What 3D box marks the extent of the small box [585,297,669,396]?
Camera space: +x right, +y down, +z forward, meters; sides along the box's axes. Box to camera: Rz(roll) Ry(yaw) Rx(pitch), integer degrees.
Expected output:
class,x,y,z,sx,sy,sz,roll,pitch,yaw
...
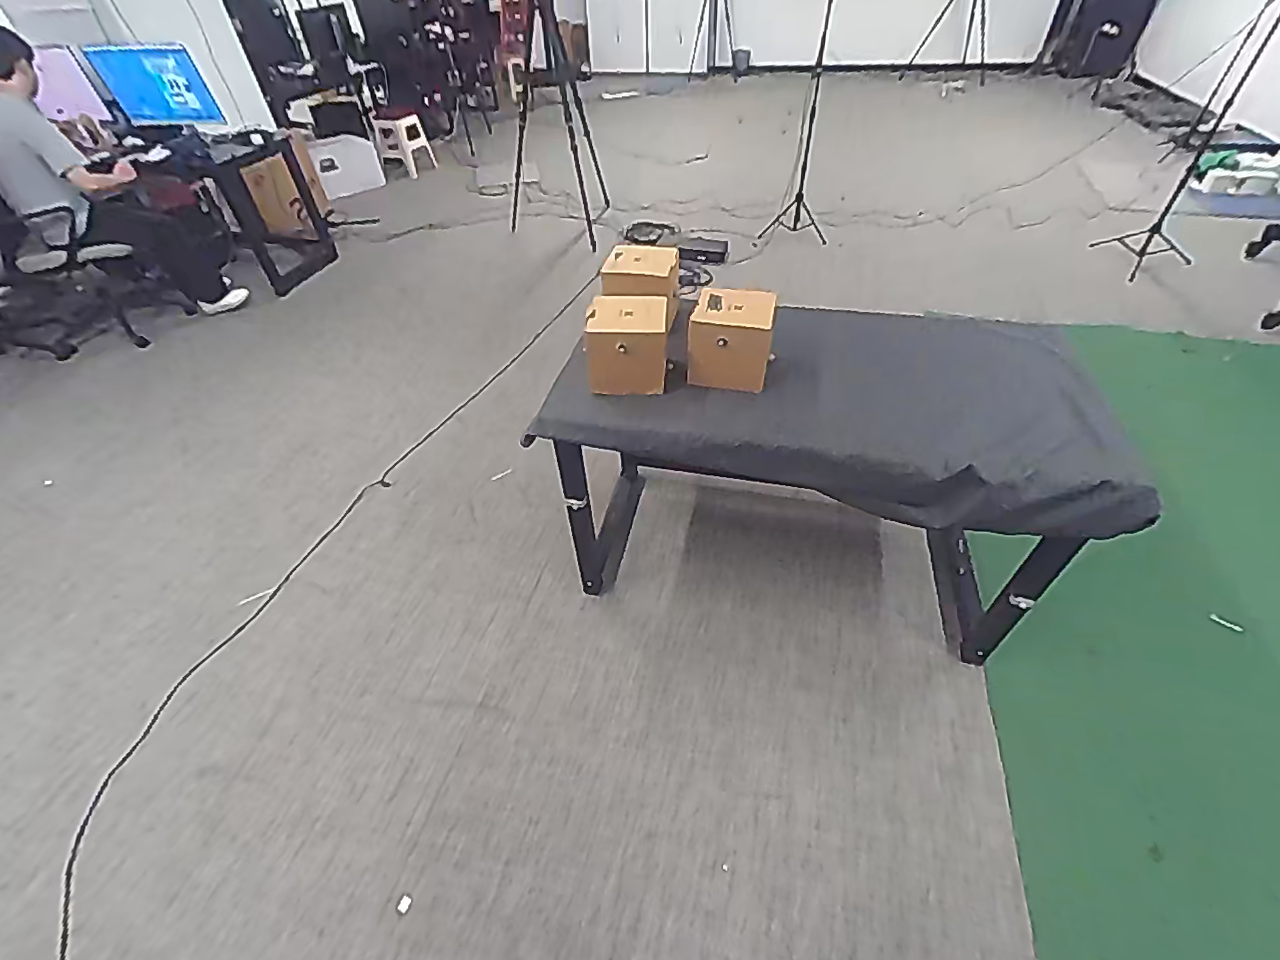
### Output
class,x,y,z,sx,sy,sz,roll,pitch,yaw
small box,-0.025,-0.310,1.263,0.179,0.176,0.168,3,45,3

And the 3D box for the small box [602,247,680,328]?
class,x,y,z,sx,sy,sz,roll,pitch,yaw
small box,0.007,-0.506,1.457,0.179,0.176,0.168,8,47,10
